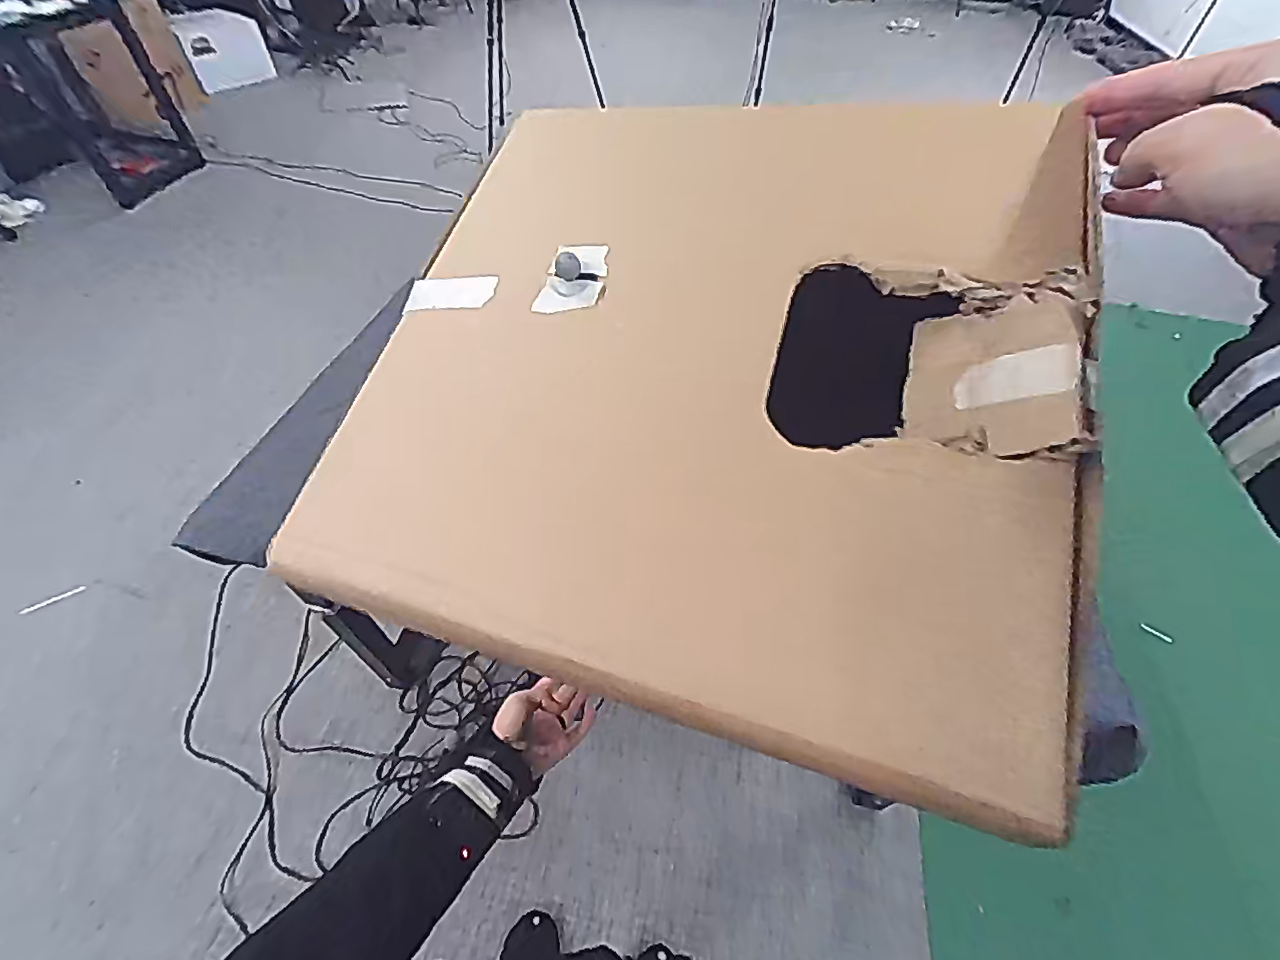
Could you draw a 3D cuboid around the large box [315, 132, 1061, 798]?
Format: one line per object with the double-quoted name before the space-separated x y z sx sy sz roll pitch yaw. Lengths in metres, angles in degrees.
"large box" 0.058 0.012 0.436 0.320 0.408 0.320 12 69 16
